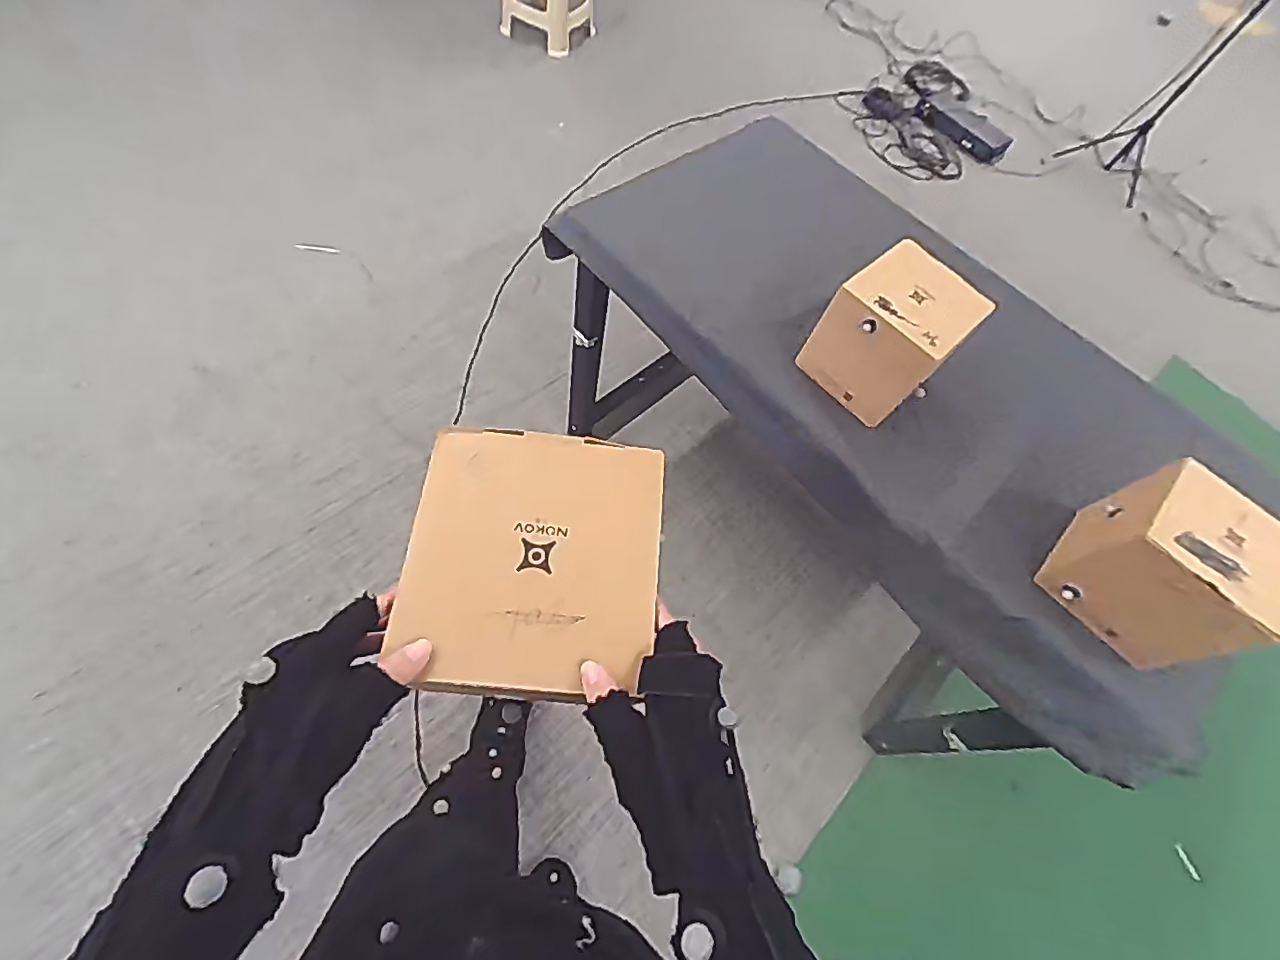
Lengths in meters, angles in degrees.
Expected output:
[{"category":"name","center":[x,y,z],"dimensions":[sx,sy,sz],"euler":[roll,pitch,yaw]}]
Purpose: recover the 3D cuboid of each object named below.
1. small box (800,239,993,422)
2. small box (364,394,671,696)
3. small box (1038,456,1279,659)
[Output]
[{"category":"small box","center":[0.378,-0.223,0.825],"dimensions":[0.179,0.176,0.168],"euler":[-37,75,-25]},{"category":"small box","center":[-0.077,0.062,0.417],"dimensions":[0.168,0.176,0.179],"euler":[8,66,-3]},{"category":"small box","center":[0.675,0.108,0.707],"dimensions":[0.179,0.176,0.168],"euler":[-37,74,-26]}]
